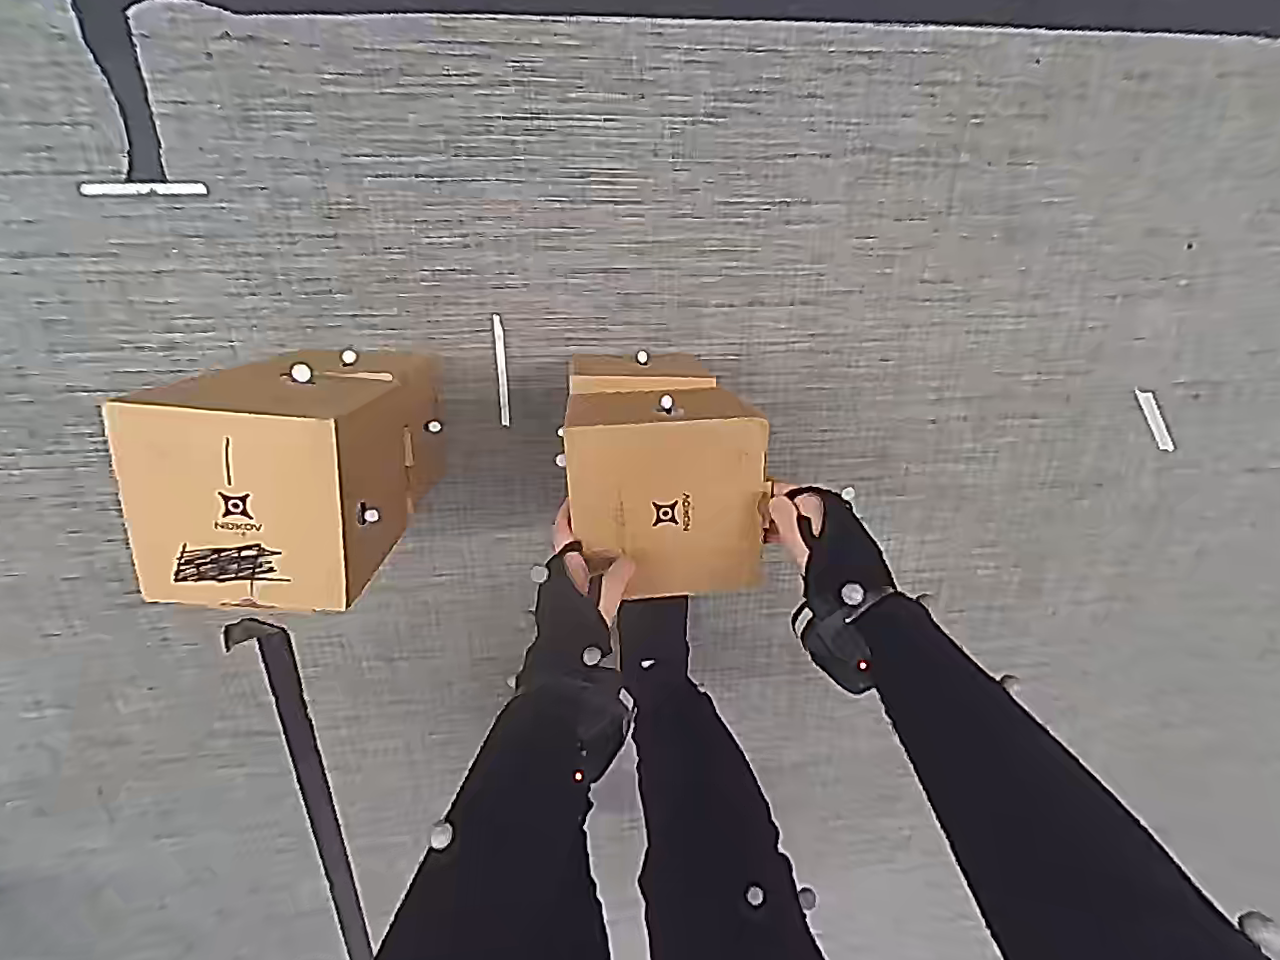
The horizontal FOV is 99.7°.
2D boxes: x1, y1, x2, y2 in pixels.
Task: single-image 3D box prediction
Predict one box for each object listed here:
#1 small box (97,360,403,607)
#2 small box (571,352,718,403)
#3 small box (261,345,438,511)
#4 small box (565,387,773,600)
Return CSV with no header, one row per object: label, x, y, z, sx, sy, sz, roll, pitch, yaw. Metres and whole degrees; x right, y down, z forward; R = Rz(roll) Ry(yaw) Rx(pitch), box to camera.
small box,-0.332,-0.005,0.506,0.168,0.176,0.179,5,110,-8
small box,-0.006,-0.067,0.693,0.168,0.176,0.179,1,111,-6
small box,-0.352,-0.069,0.657,0.179,0.176,0.168,0,111,-7
small box,0.018,0.001,0.541,0.179,0.176,0.168,-3,108,-4
